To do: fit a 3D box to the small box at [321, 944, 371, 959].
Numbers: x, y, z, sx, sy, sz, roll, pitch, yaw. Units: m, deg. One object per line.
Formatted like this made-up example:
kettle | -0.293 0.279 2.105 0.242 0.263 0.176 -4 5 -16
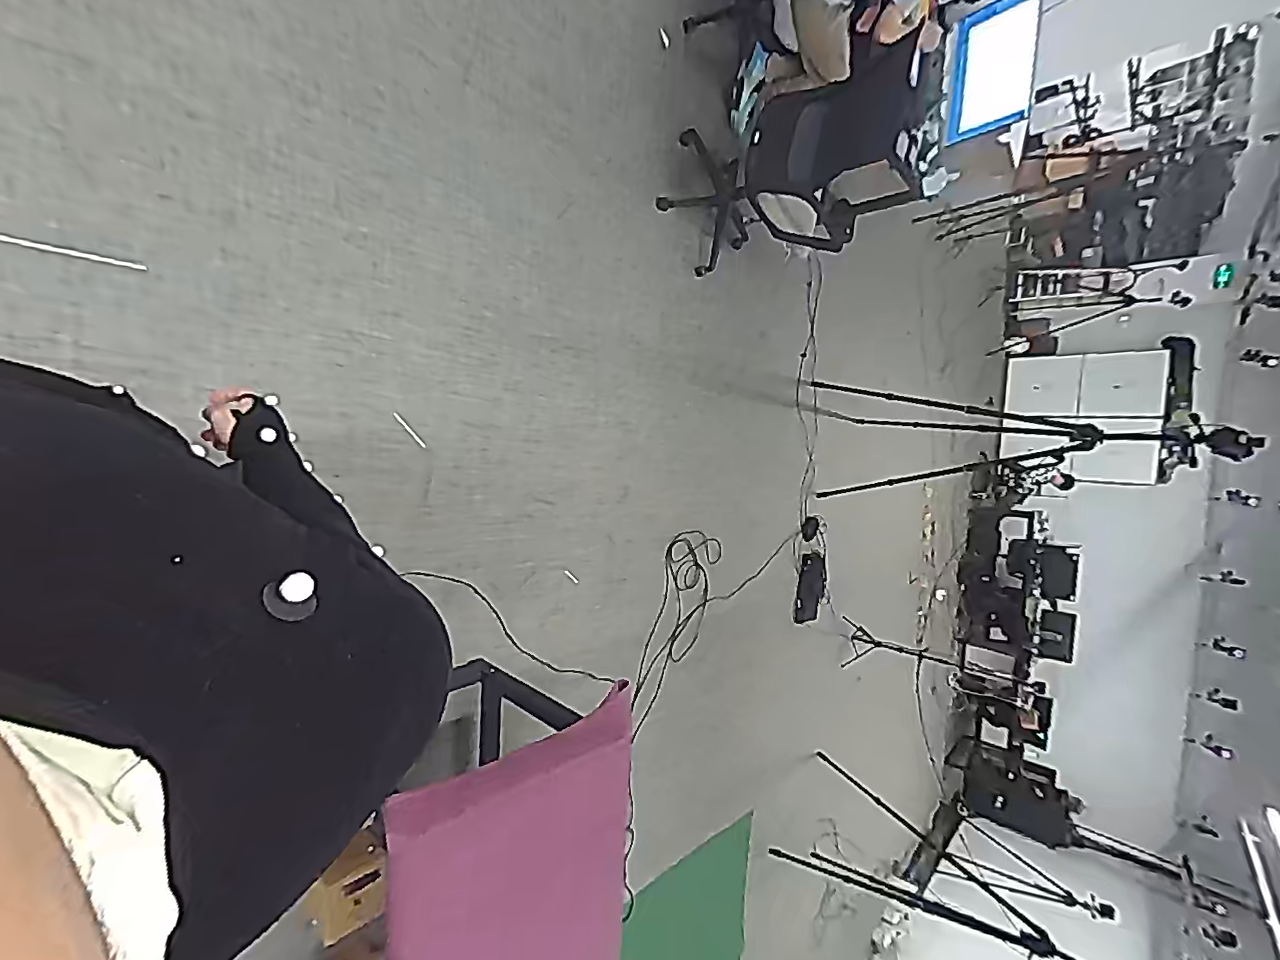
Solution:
small box | -0.881 1.516 1.576 0.168 0.176 0.179 5 91 -47
